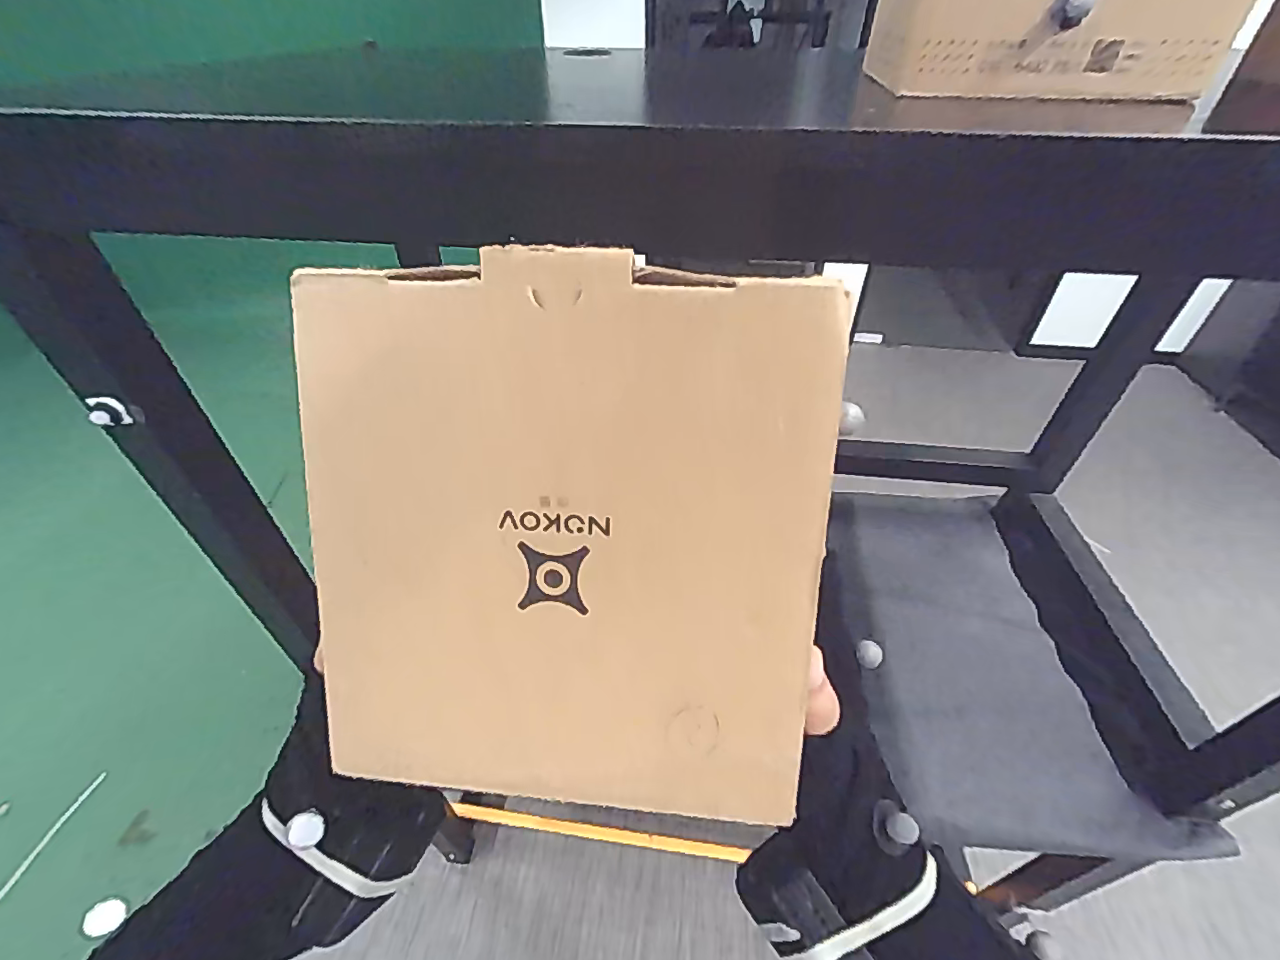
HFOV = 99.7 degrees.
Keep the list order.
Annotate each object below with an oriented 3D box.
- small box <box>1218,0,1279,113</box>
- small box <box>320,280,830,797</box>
[{"bbox_3d":[0.490,-0.293,0.287,0.168,0.176,0.179,13,42,14],"label":"small box"},{"bbox_3d":[-0.018,0.009,0.263,0.168,0.179,0.176,3,11,6],"label":"small box"}]
